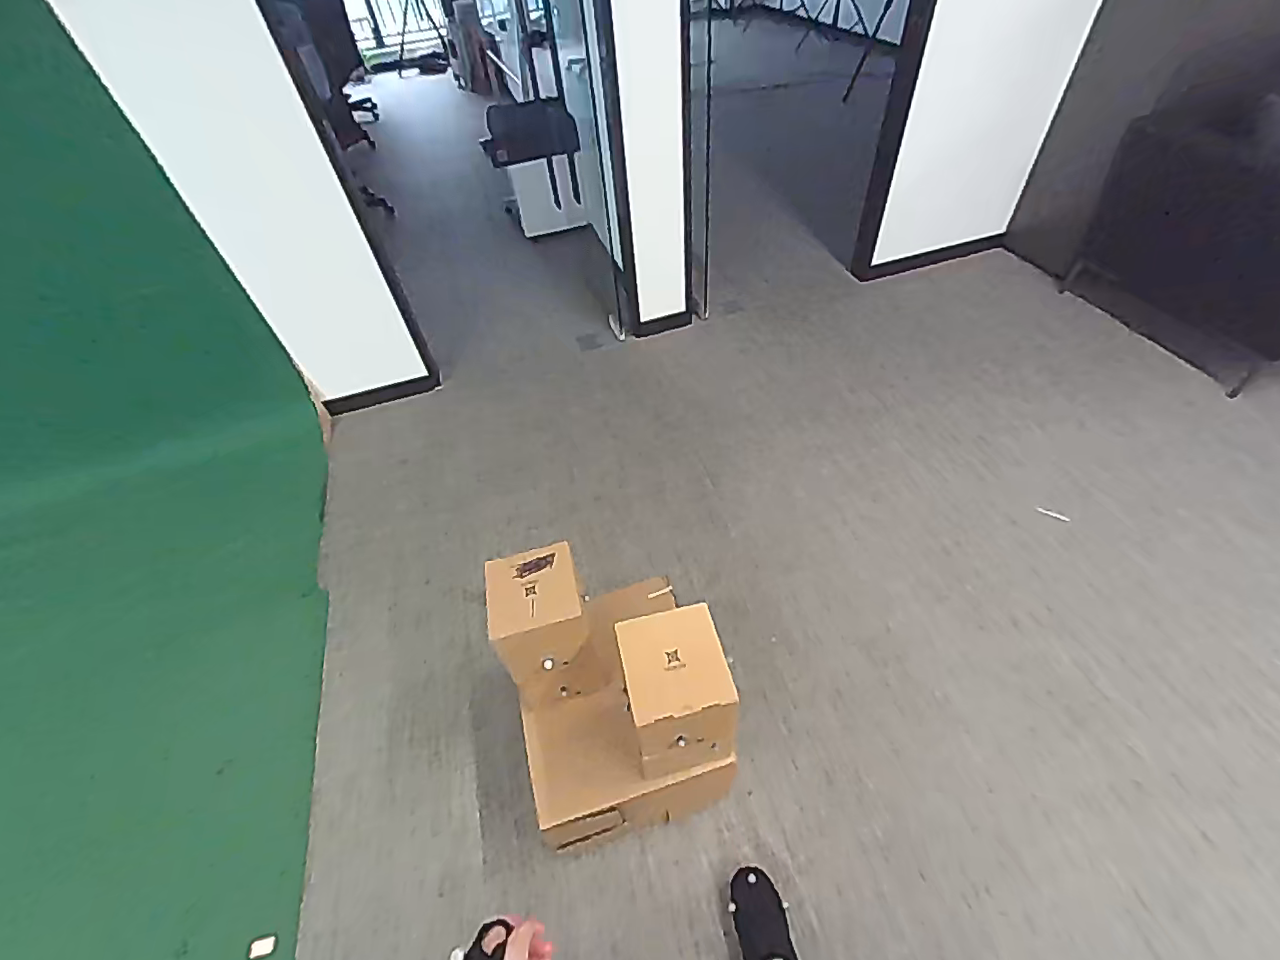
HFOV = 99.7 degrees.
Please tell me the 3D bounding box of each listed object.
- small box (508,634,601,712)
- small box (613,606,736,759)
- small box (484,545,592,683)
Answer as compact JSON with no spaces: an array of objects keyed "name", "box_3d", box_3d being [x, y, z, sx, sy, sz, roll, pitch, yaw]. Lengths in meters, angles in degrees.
[{"name":"small box","box_3d":[-0.191,0.367,1.172,0.168,0.176,0.179,-16,45,-7]},{"name":"small box","box_3d":[0.054,0.349,0.933,0.168,0.176,0.179,-12,47,-6]},{"name":"small box","box_3d":[-0.196,0.260,1.045,0.168,0.176,0.179,-15,46,-6]}]
